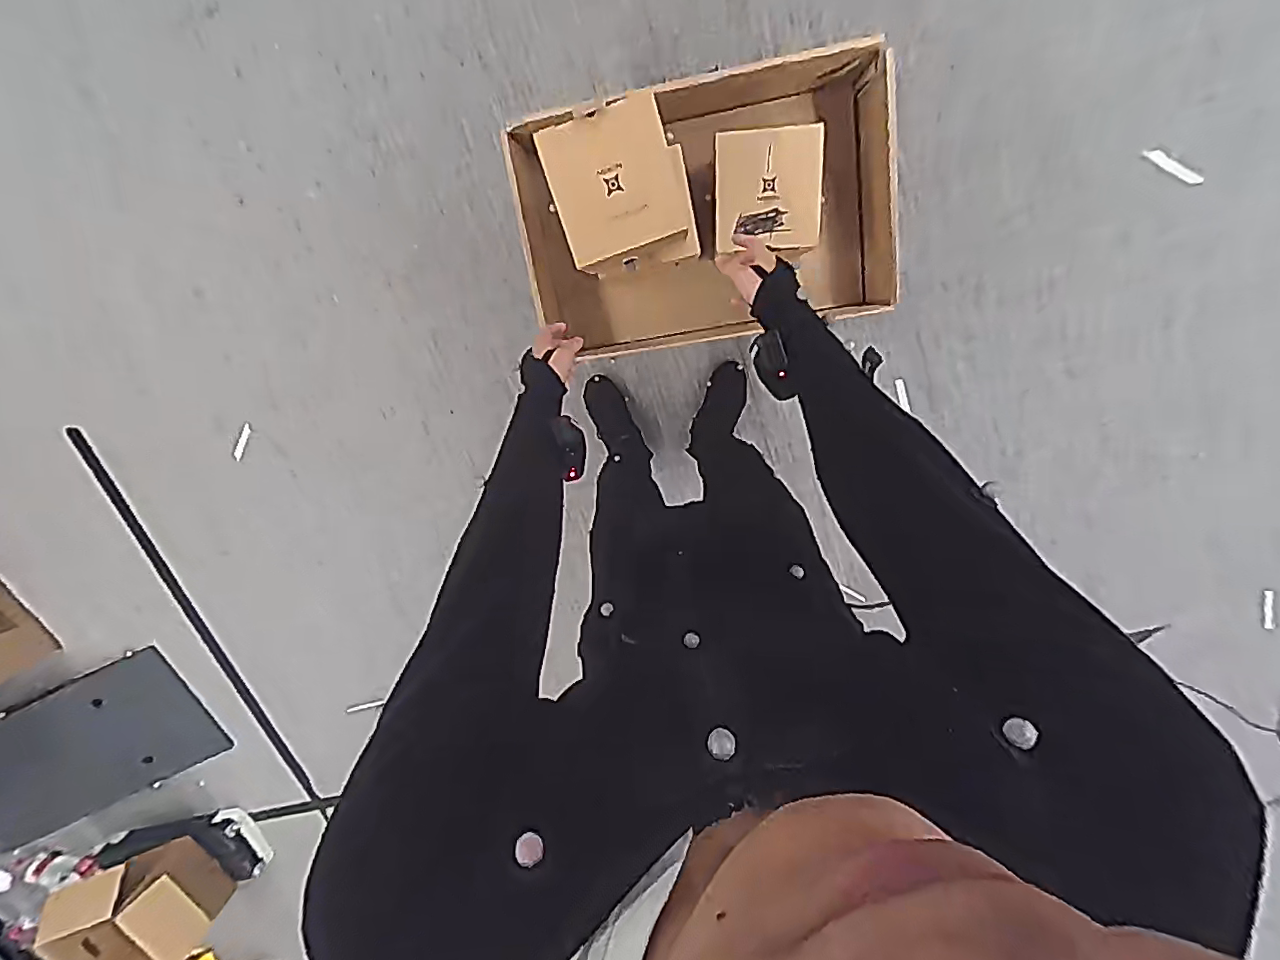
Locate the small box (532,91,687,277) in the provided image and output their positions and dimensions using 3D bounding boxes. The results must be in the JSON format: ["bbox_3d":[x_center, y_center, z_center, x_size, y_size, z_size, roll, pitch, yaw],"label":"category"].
[{"bbox_3d":[-0.035,-0.412,0.788,0.168,0.176,0.179,-17,106,9],"label":"small box"}]
